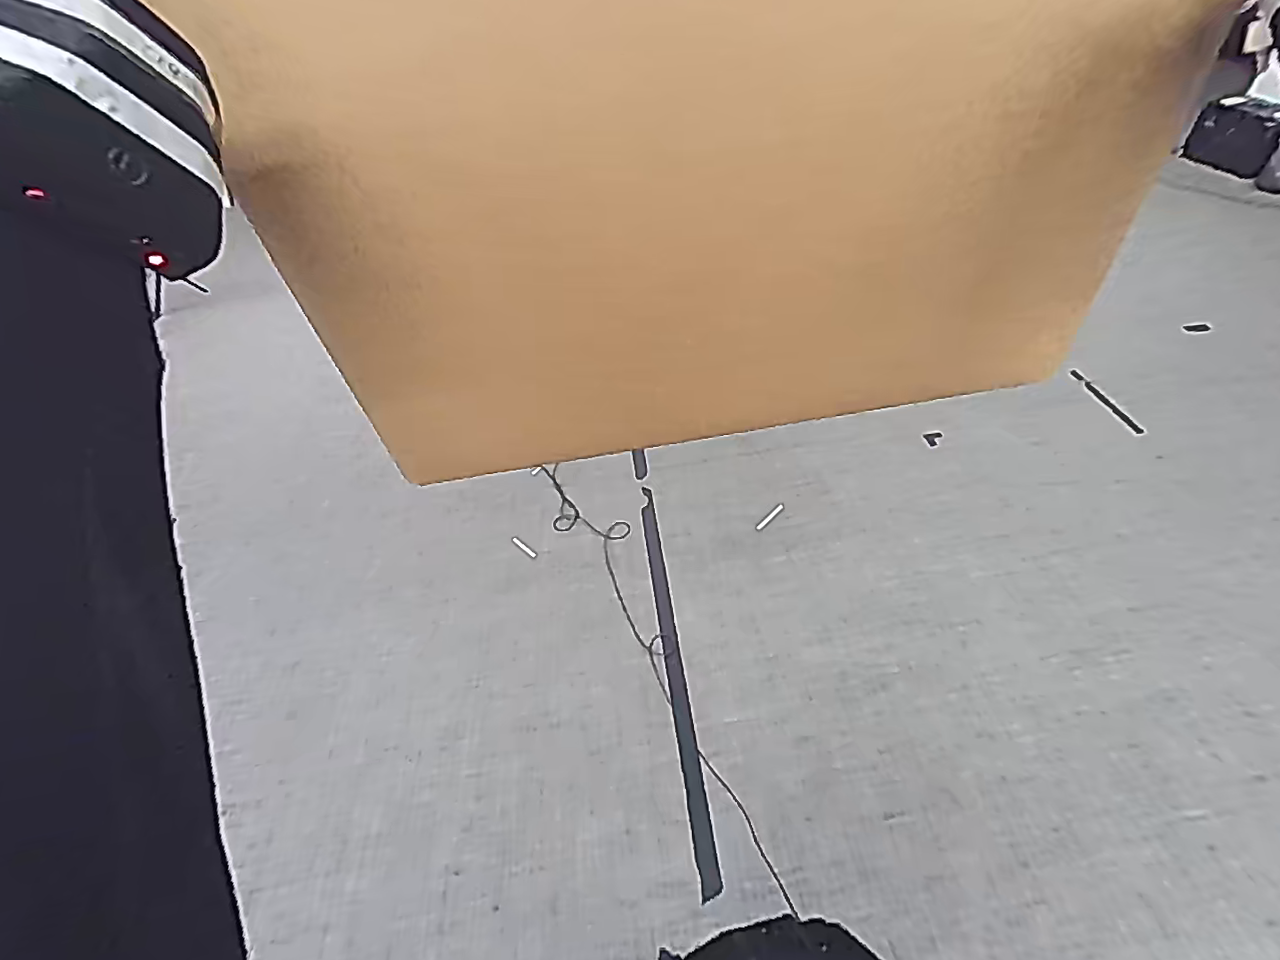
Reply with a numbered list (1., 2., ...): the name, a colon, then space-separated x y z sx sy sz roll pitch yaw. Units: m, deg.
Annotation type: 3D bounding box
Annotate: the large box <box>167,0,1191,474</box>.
1. large box: 0.018 -0.241 0.347 0.408 0.320 0.320 -10 45 -2
